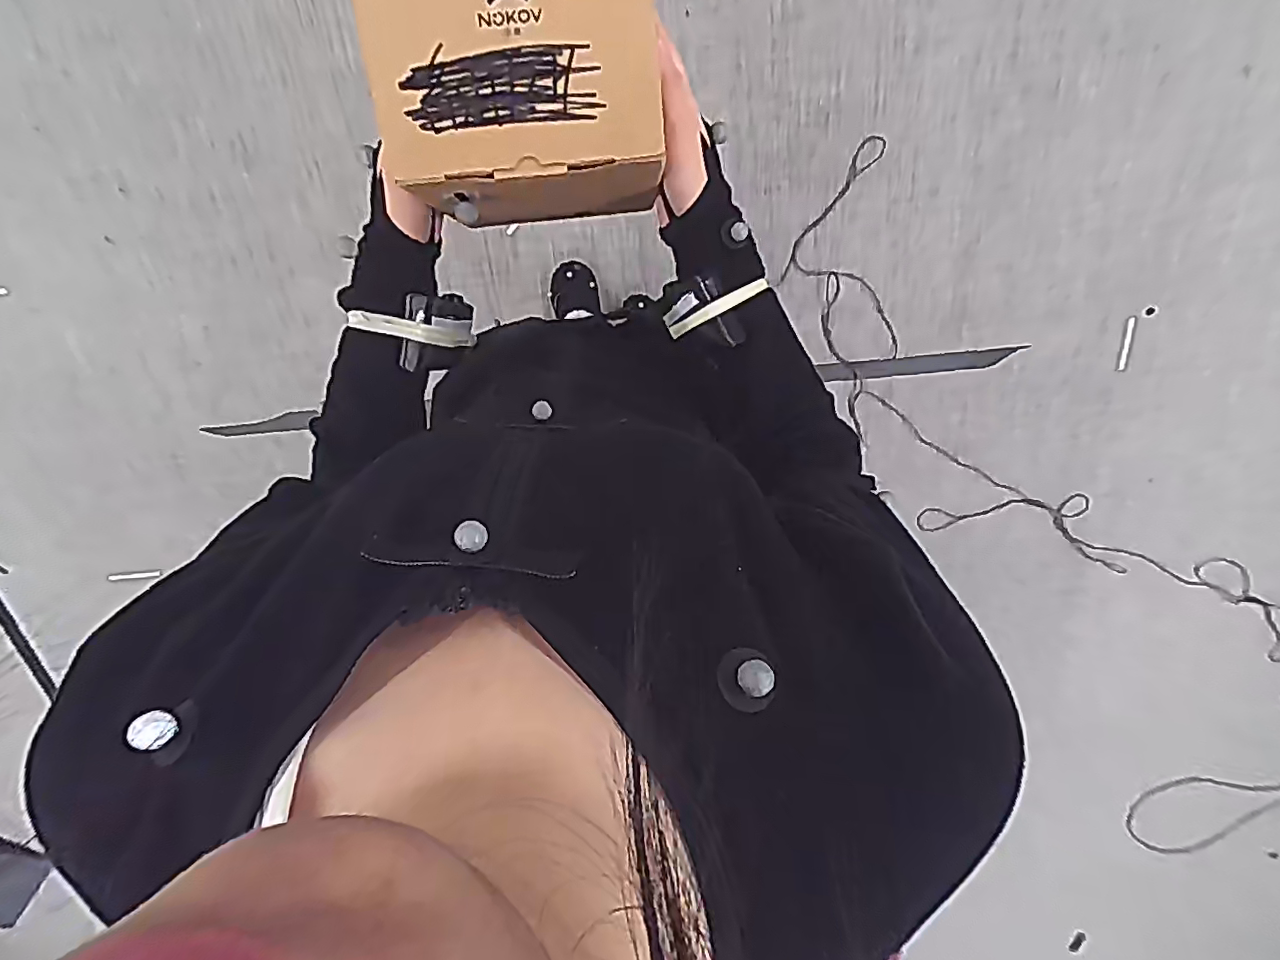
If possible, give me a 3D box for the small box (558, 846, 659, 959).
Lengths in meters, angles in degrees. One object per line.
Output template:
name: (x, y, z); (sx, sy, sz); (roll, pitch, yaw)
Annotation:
small box: (-0.051, 0.808, 0.984); (0.168, 0.176, 0.179); (-4, 112, -2)
